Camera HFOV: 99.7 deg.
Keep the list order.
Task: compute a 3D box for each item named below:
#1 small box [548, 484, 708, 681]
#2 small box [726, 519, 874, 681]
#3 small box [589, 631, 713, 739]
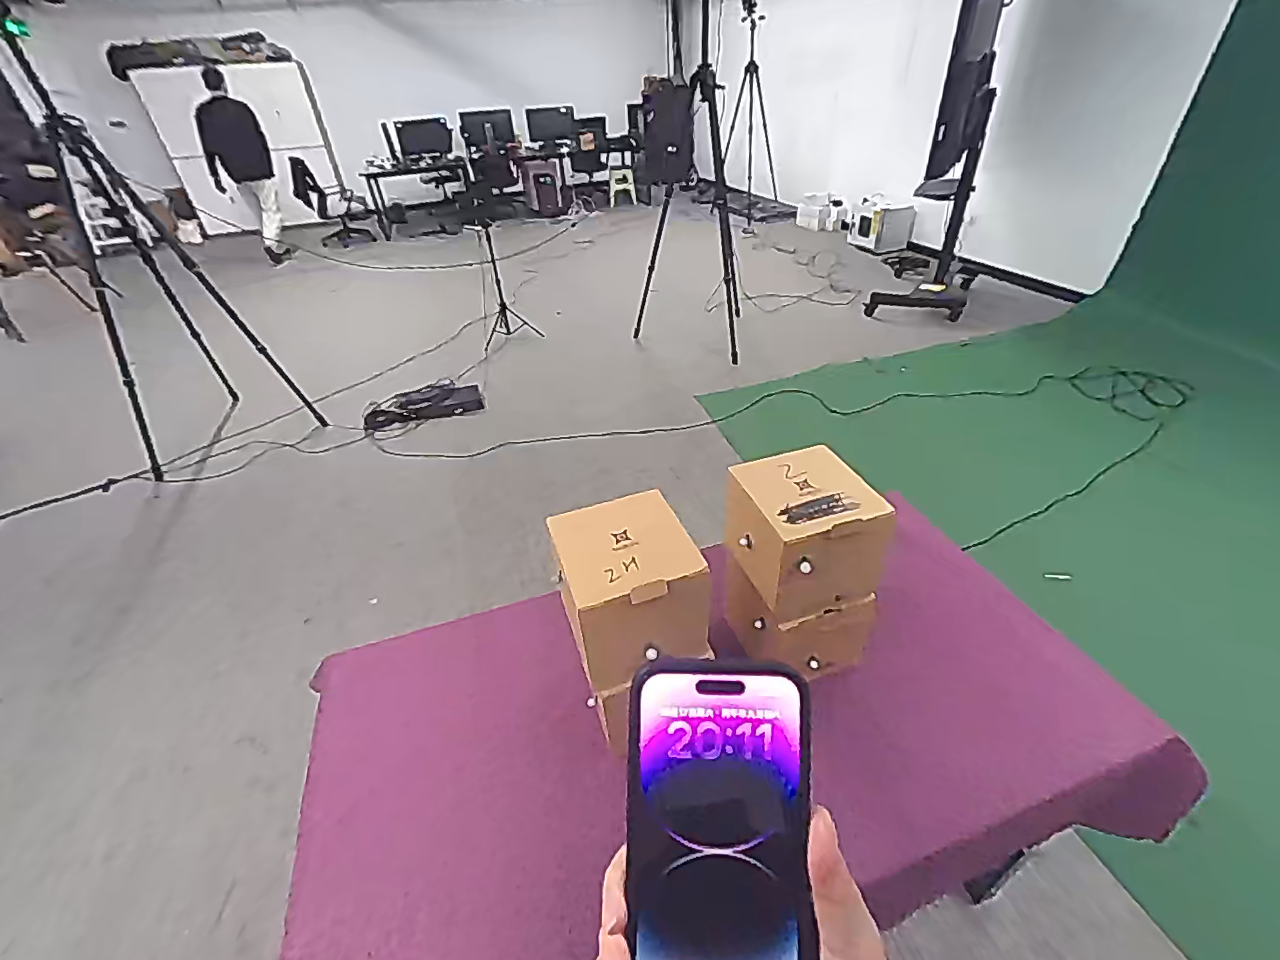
[{"bbox_3d":[-0.019,0.136,0.740,0.168,0.176,0.179,-16,39,-14],"label":"small box"},{"bbox_3d":[0.251,0.197,0.901,0.168,0.176,0.179,-15,40,-13],"label":"small box"},{"bbox_3d":[0.005,0.270,0.835,0.168,0.176,0.179,-15,38,-13],"label":"small box"}]
